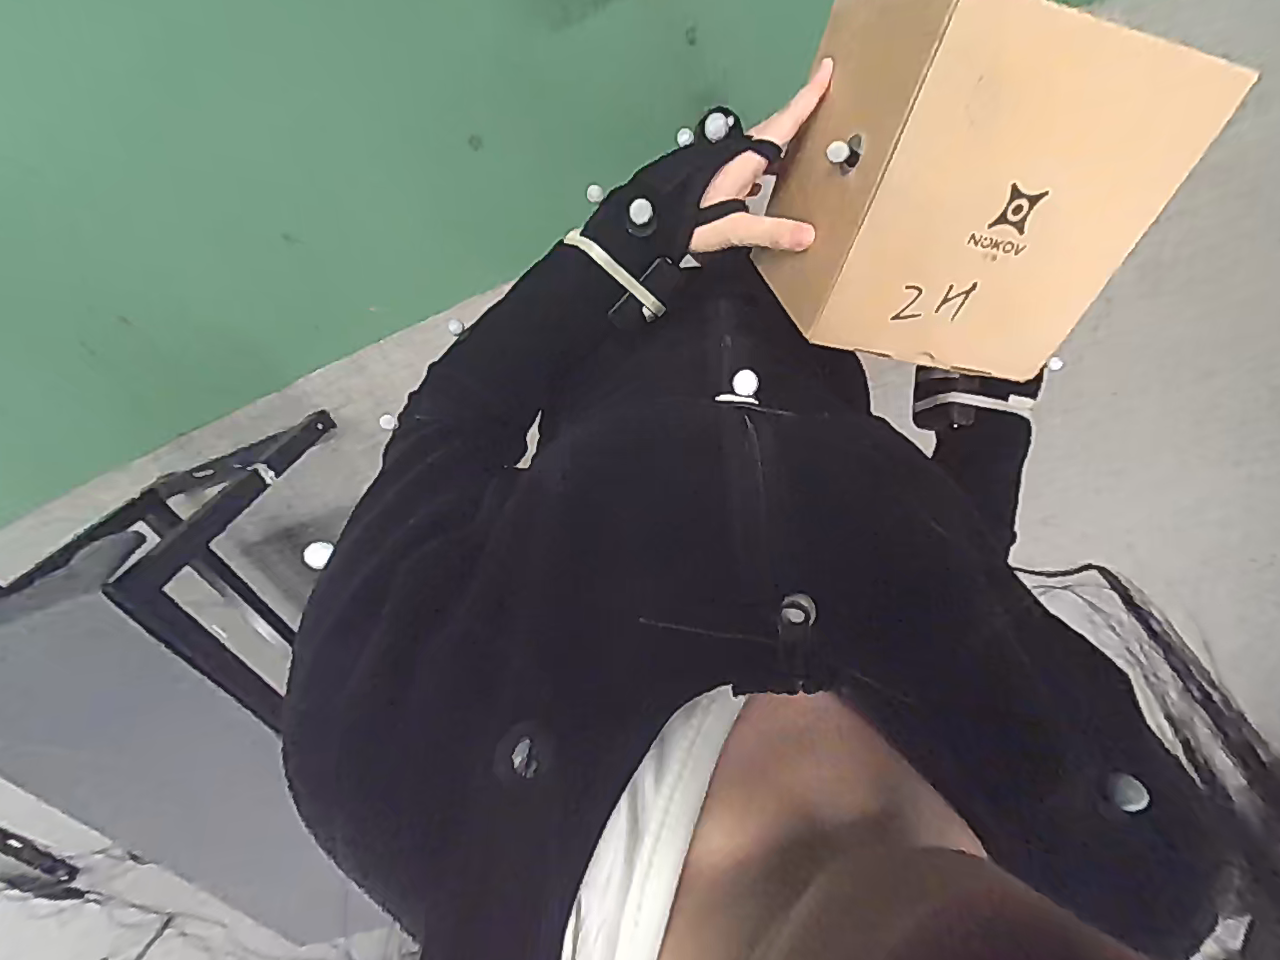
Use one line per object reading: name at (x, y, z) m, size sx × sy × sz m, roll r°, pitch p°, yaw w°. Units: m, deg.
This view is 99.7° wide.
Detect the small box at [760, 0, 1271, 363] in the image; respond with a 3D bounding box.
small box at (0.192, -0.202, 0.349) m, size 0.168 × 0.176 × 0.179 m, roll 7°, pitch 128°, yaw -10°
